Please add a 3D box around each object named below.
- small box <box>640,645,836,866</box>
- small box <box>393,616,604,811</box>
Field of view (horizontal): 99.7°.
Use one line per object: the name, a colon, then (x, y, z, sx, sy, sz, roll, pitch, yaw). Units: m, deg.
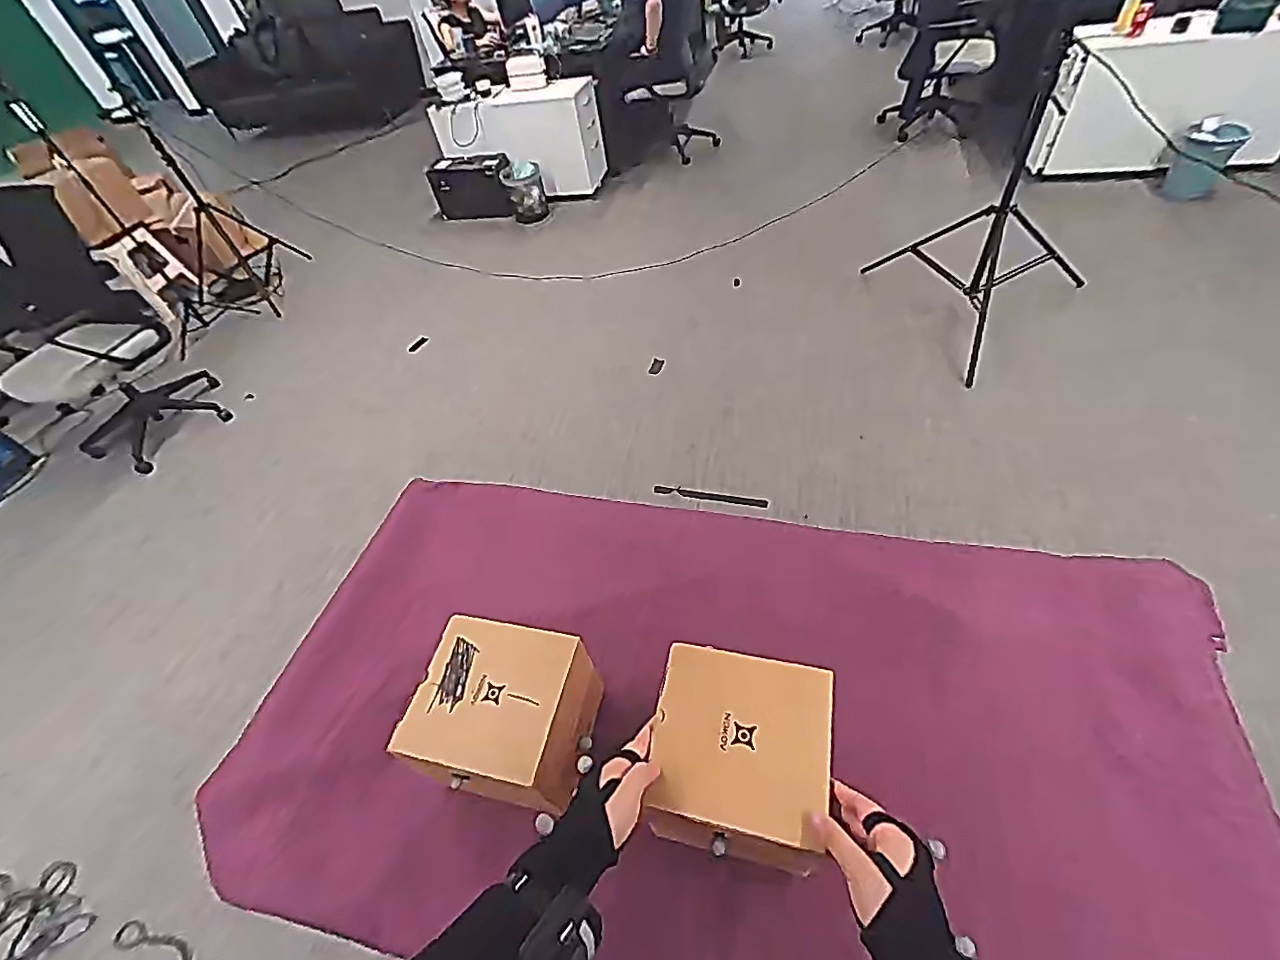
small box: (0.113, 0.306, 0.598, 0.179, 0.176, 0.168, 5, 51, 16)
small box: (-0.159, 0.294, 0.677, 0.179, 0.176, 0.168, 6, 51, 14)
